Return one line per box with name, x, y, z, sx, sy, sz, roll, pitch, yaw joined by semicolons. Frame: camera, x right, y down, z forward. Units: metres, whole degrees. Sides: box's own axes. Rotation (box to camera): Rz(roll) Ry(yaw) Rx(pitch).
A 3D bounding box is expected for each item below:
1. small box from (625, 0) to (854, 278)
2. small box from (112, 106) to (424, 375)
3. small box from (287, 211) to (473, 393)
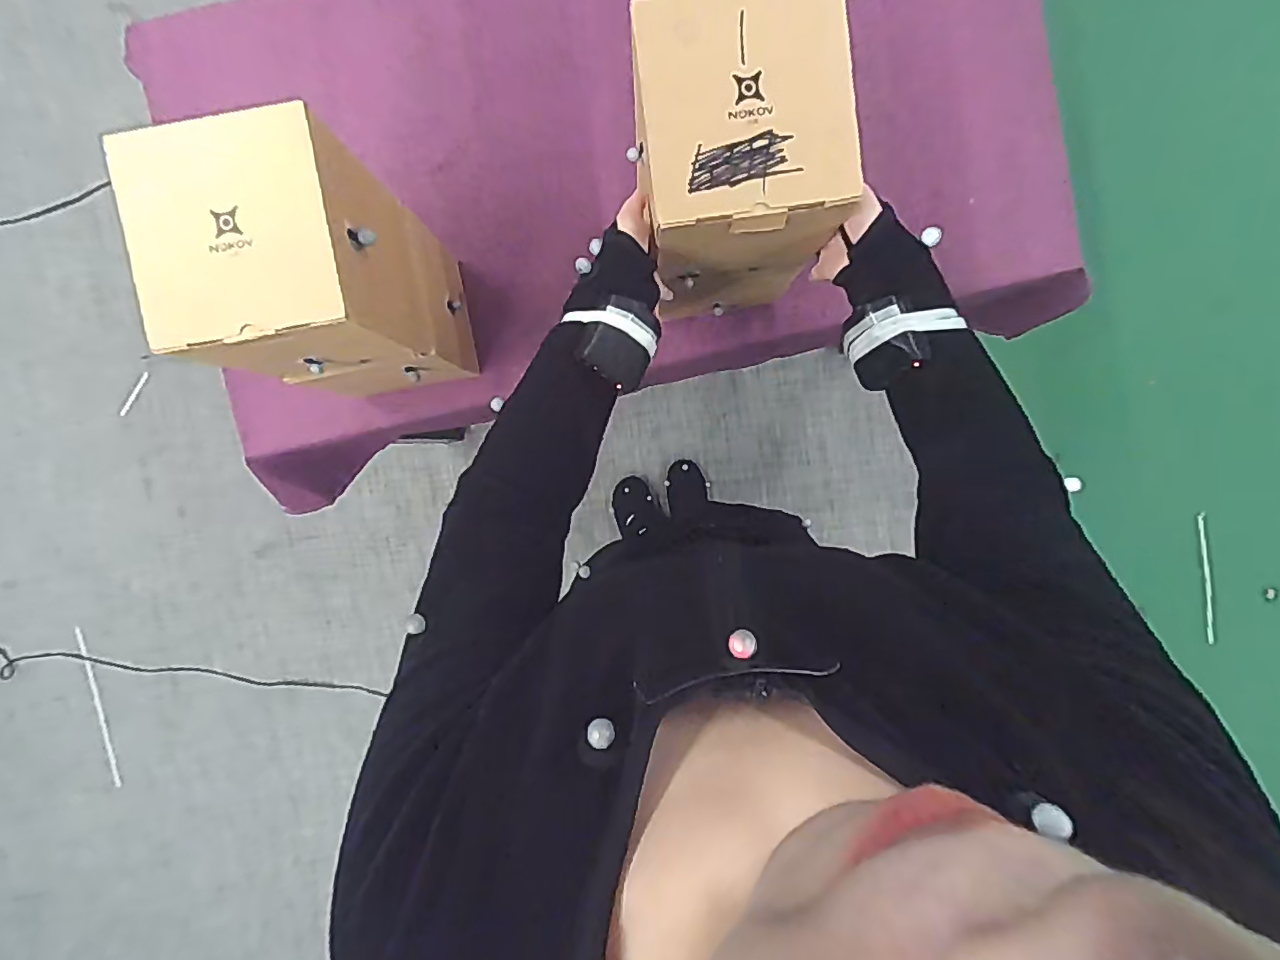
small box;0.081;-0.301;0.501;0.168;0.176;0.179;-7;92;2
small box;-0.332;-0.208;0.520;0.168;0.176;0.179;-10;94;2
small box;-0.324;-0.210;0.683;0.179;0.176;0.168;-10;93;2
